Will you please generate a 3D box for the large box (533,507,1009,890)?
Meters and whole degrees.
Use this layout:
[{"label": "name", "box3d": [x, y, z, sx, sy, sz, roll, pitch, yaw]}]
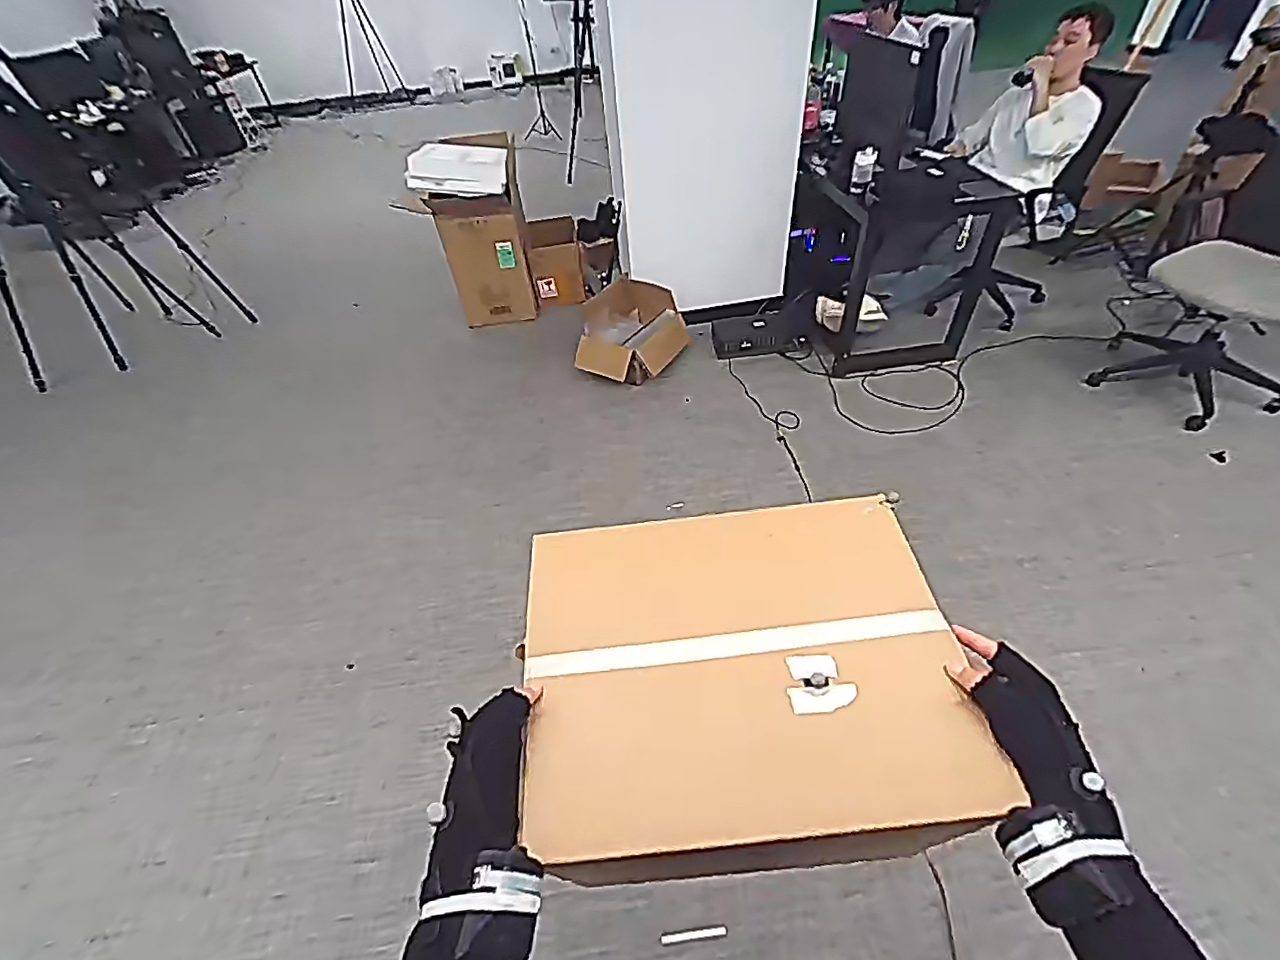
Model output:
[{"label": "large box", "box3d": [0.105, 0.268, 0.648, 0.408, 0.320, 0.320, -7, 50, 1]}]
